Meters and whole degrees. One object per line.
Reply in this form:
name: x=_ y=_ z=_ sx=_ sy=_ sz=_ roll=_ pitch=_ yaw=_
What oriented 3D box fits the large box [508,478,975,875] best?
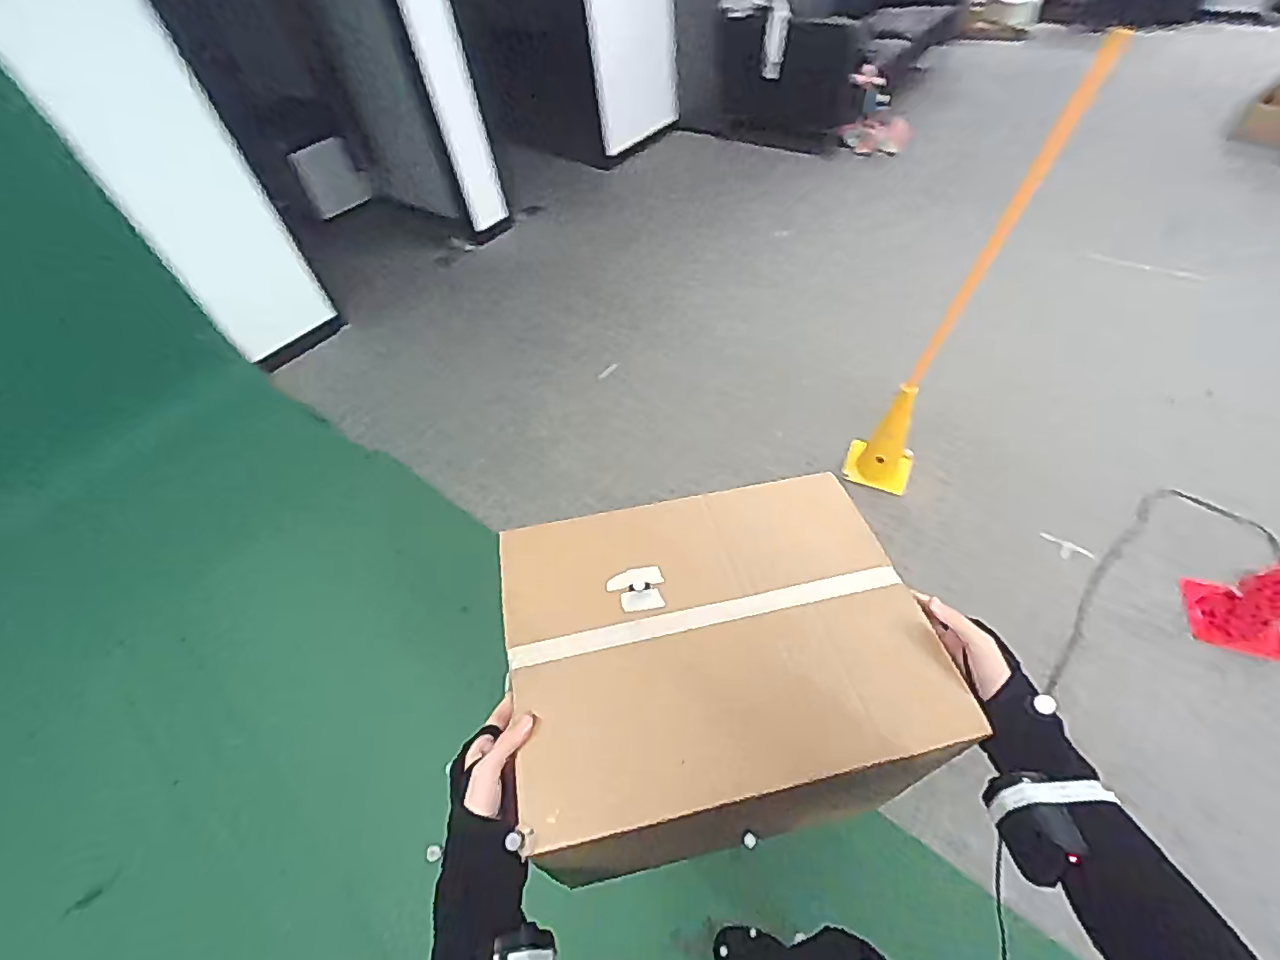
large box: x=0.080 y=0.241 z=0.660 sx=0.408 sy=0.320 sz=0.320 roll=-10 pitch=50 yaw=-6
